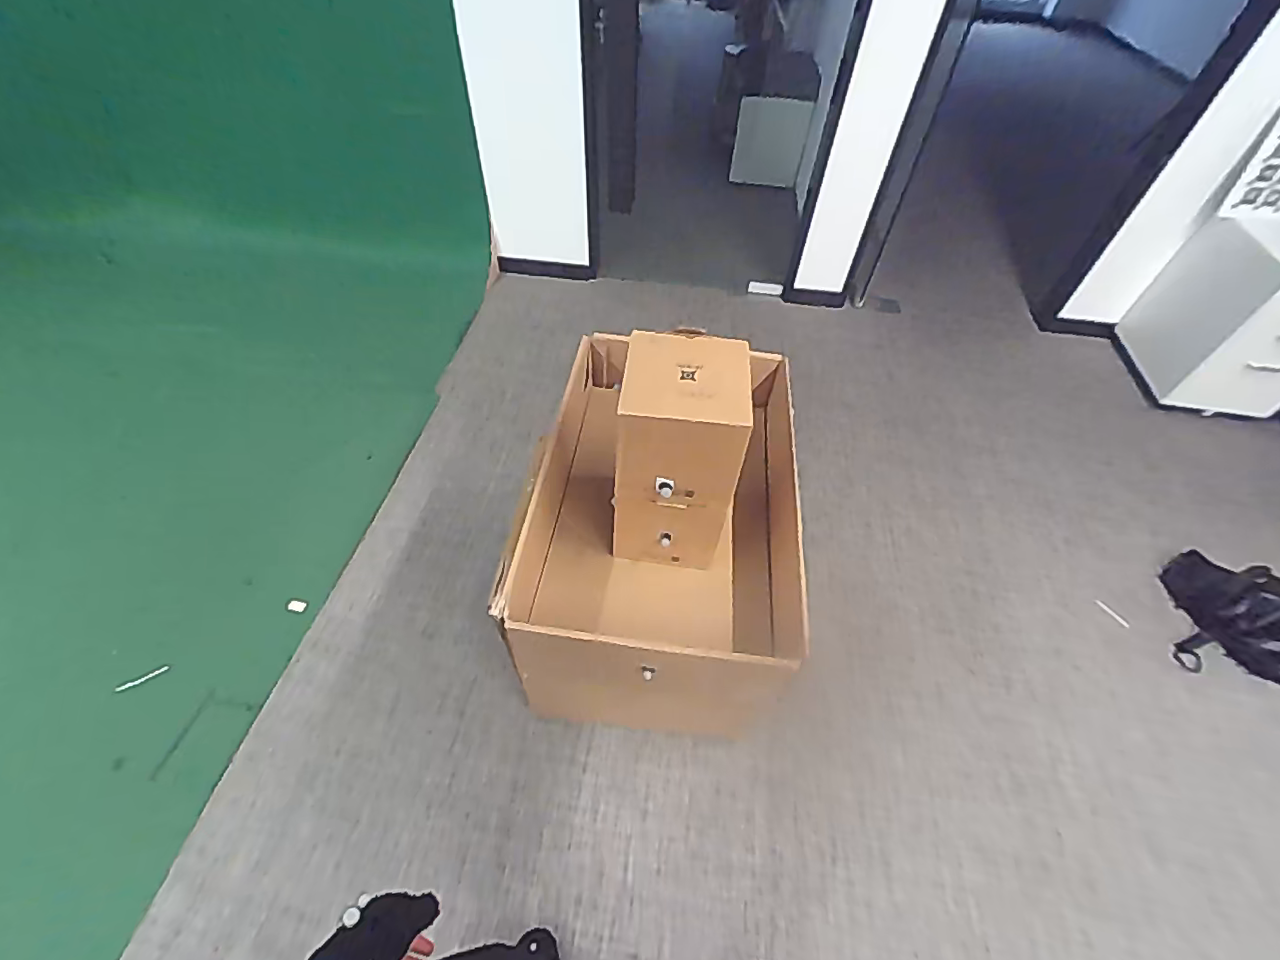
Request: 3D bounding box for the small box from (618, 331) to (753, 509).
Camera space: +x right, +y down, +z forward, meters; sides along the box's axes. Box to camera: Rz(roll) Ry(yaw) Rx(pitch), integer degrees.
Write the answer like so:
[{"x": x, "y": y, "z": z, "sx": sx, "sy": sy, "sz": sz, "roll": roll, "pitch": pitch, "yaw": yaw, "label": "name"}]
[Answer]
[{"x": 0.059, "y": -0.084, "z": 0.765, "sx": 0.168, "sy": 0.176, "sz": 0.179, "roll": 5, "pitch": 50, "yaw": 1, "label": "small box"}]
